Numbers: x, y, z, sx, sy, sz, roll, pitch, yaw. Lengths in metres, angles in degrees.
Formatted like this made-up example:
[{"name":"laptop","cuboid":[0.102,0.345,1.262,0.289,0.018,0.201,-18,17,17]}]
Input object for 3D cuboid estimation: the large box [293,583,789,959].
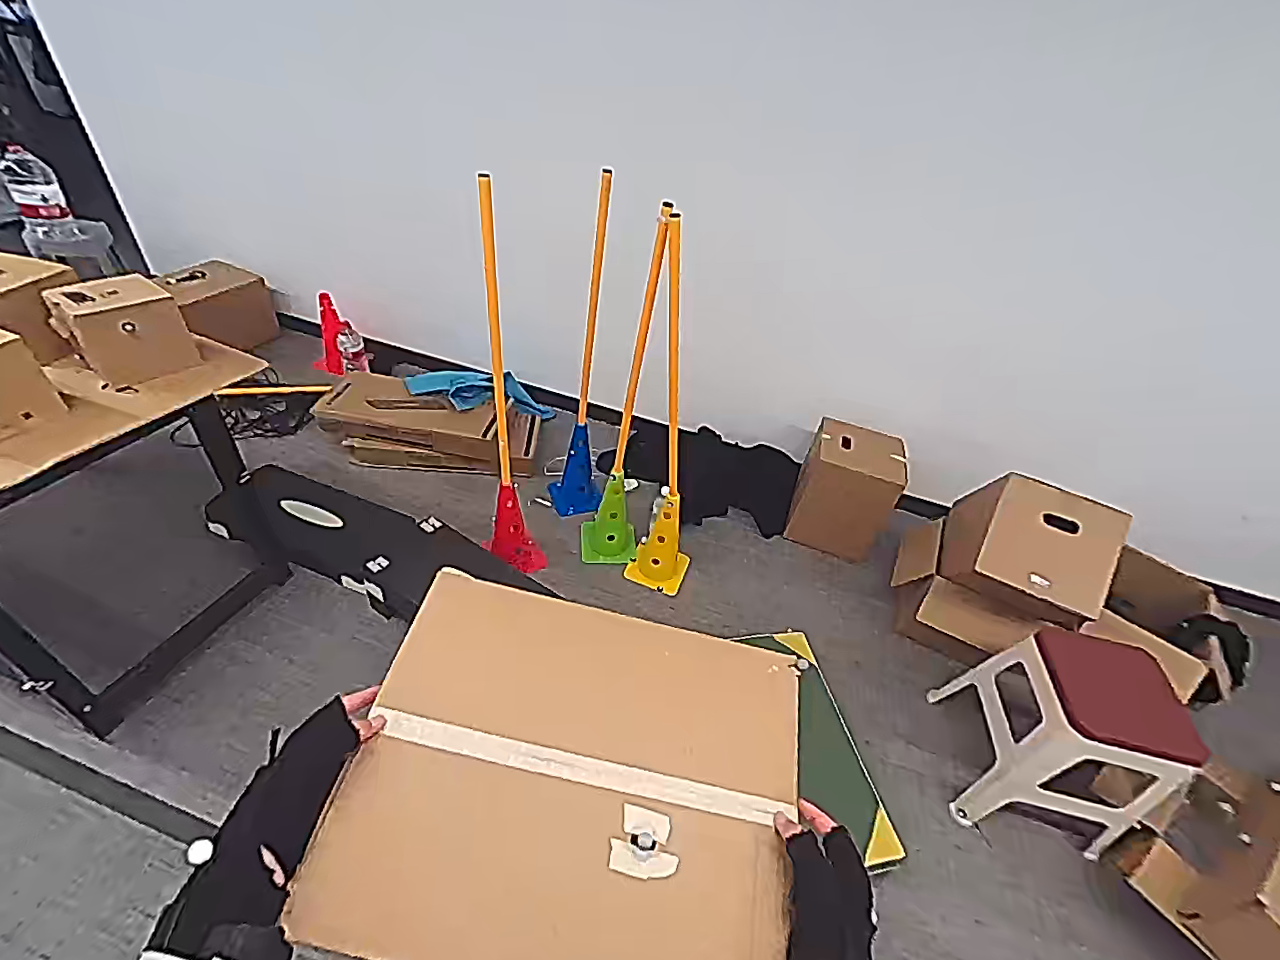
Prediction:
[{"name":"large box","cuboid":[-0.076,0.364,0.627,0.408,0.320,0.320,14,52,0]}]
